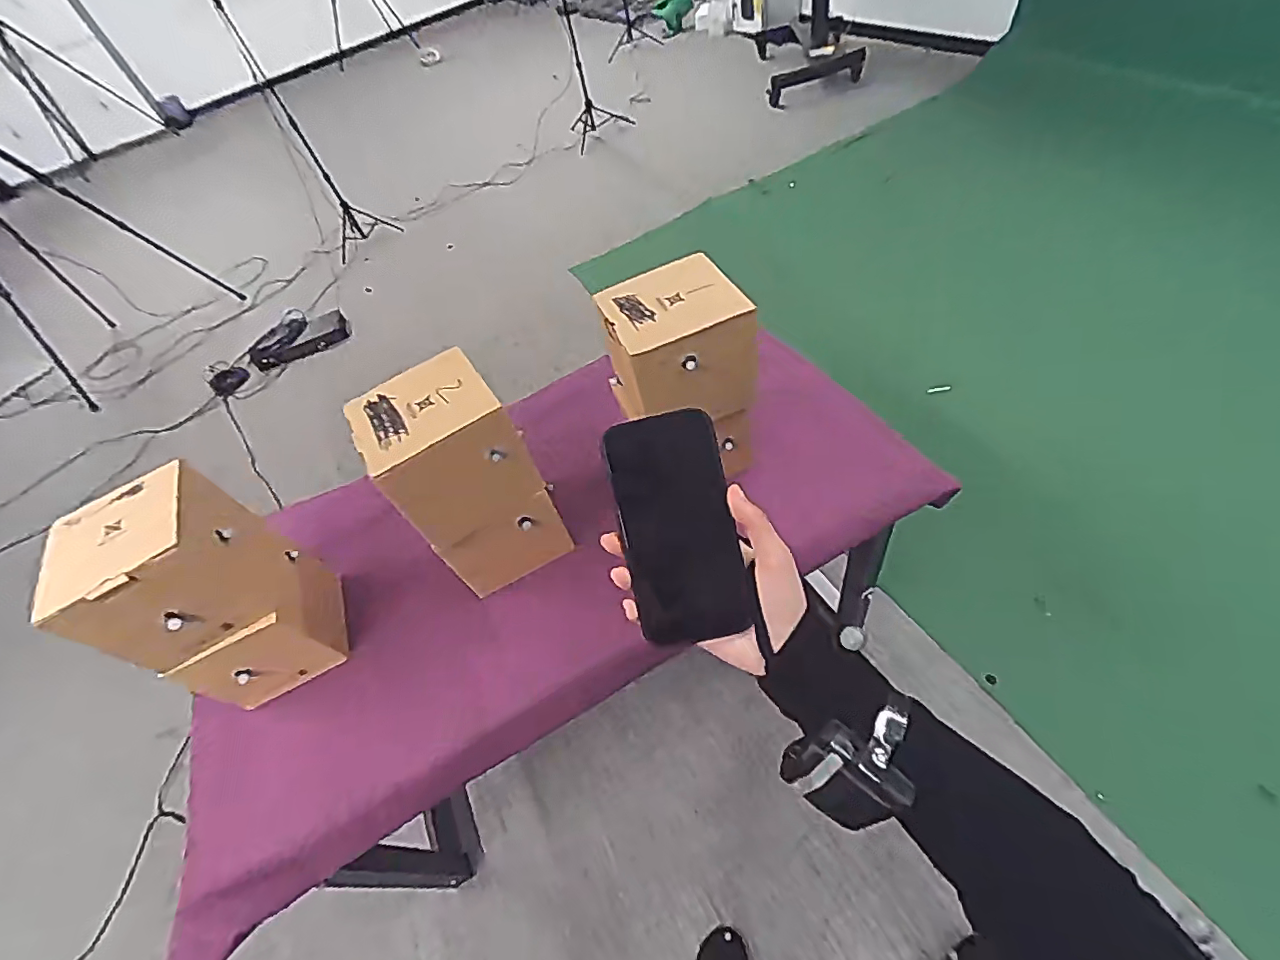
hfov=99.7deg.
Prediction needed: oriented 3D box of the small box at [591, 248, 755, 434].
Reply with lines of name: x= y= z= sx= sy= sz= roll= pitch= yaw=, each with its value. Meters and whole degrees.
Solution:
small box: x=0.052 y=-0.195 z=0.779 sx=0.179 sy=0.176 sz=0.168 roll=-23 pitch=50 yaw=-4

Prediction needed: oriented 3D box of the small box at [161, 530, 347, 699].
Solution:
small box: x=-0.583 y=0.216 z=0.839 sx=0.168 sy=0.176 sz=0.179 roll=-28 pitch=51 yaw=-7

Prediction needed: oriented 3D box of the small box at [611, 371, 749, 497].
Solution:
small box: x=0.072 y=-0.102 z=0.913 sx=0.179 sy=0.176 sz=0.168 roll=-23 pitch=50 yaw=-3

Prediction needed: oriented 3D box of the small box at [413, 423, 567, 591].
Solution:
small box: x=-0.232 y=0.047 z=0.876 sx=0.179 sy=0.176 sz=0.168 roll=-28 pitch=51 yaw=-7

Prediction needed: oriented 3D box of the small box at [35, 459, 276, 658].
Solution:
small box: x=-0.620 y=0.112 z=0.717 sx=0.168 sy=0.176 sz=0.179 roll=-31 pitch=52 yaw=-11
